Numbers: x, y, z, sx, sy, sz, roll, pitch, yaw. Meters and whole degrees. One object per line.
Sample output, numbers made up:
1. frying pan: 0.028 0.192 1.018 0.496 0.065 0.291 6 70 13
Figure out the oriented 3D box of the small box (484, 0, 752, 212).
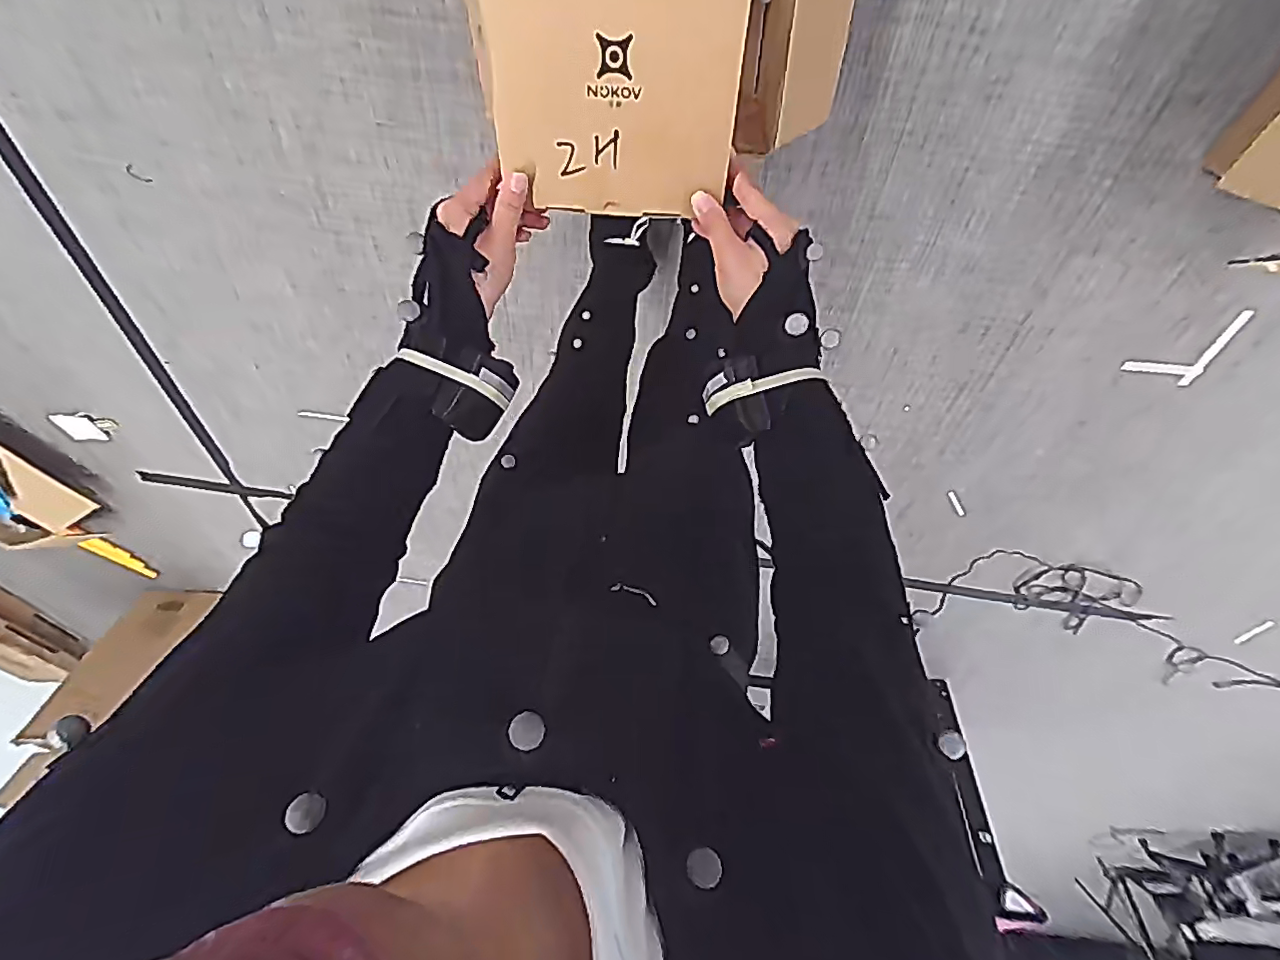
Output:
1. small box: -0.012 -0.326 0.403 0.168 0.176 0.179 5 136 1
